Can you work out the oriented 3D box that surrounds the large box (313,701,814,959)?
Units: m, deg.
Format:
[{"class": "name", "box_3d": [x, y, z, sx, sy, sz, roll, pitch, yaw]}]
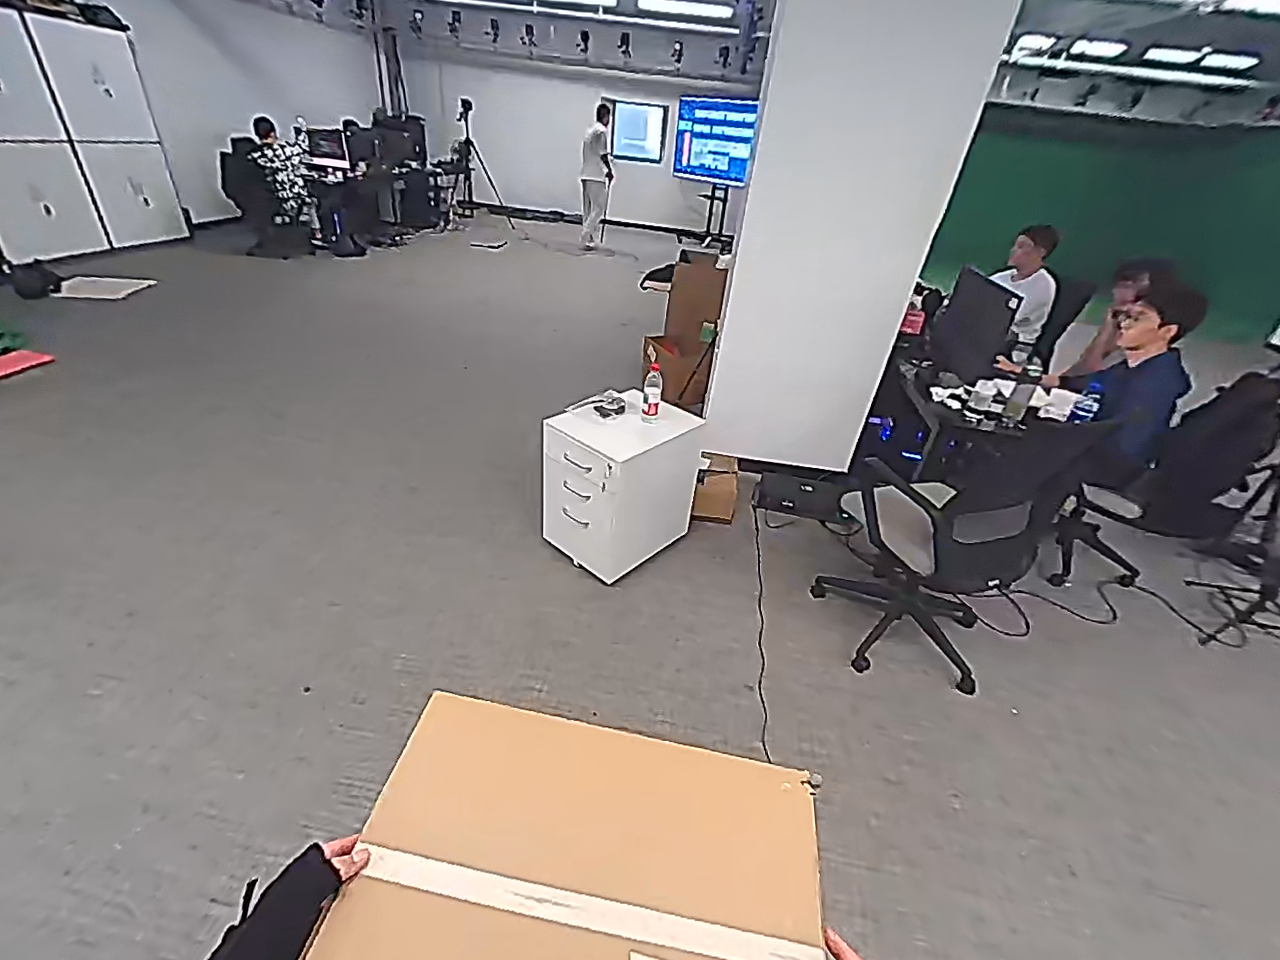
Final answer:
[{"class": "large box", "box_3d": [-0.069, 0.481, 0.551, 0.408, 0.320, 0.320, 12, 39, 2]}]
